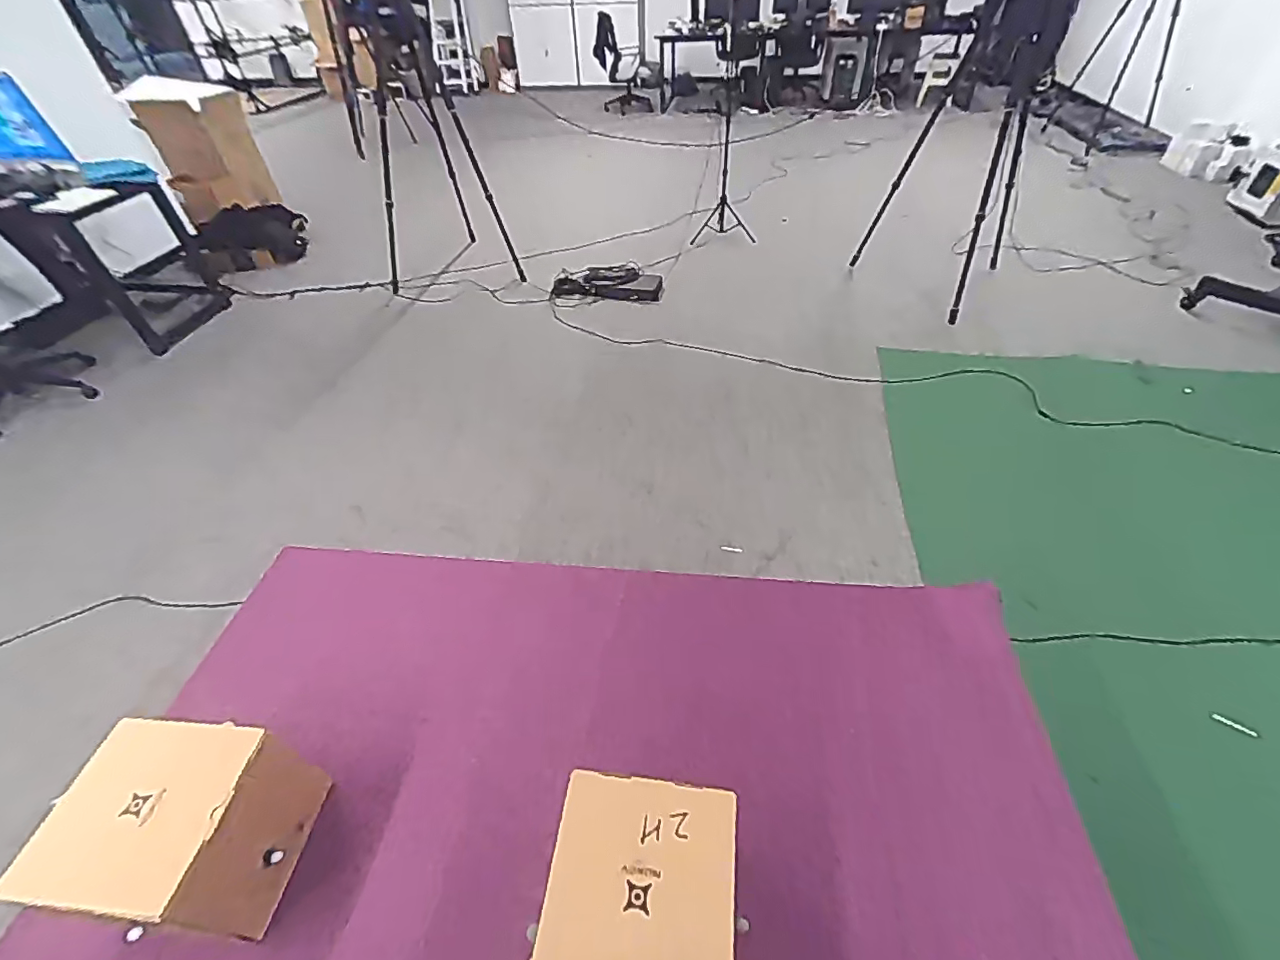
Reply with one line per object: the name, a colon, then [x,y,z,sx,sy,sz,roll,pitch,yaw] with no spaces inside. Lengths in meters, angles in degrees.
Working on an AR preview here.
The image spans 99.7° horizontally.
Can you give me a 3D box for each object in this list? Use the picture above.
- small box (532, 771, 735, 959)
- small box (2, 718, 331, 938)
small box: [0.005,0.417,0.532,0.168,0.176,0.179,3,44,8]
small box: [-0.494,0.387,0.601,0.179,0.176,0.168,2,44,5]
